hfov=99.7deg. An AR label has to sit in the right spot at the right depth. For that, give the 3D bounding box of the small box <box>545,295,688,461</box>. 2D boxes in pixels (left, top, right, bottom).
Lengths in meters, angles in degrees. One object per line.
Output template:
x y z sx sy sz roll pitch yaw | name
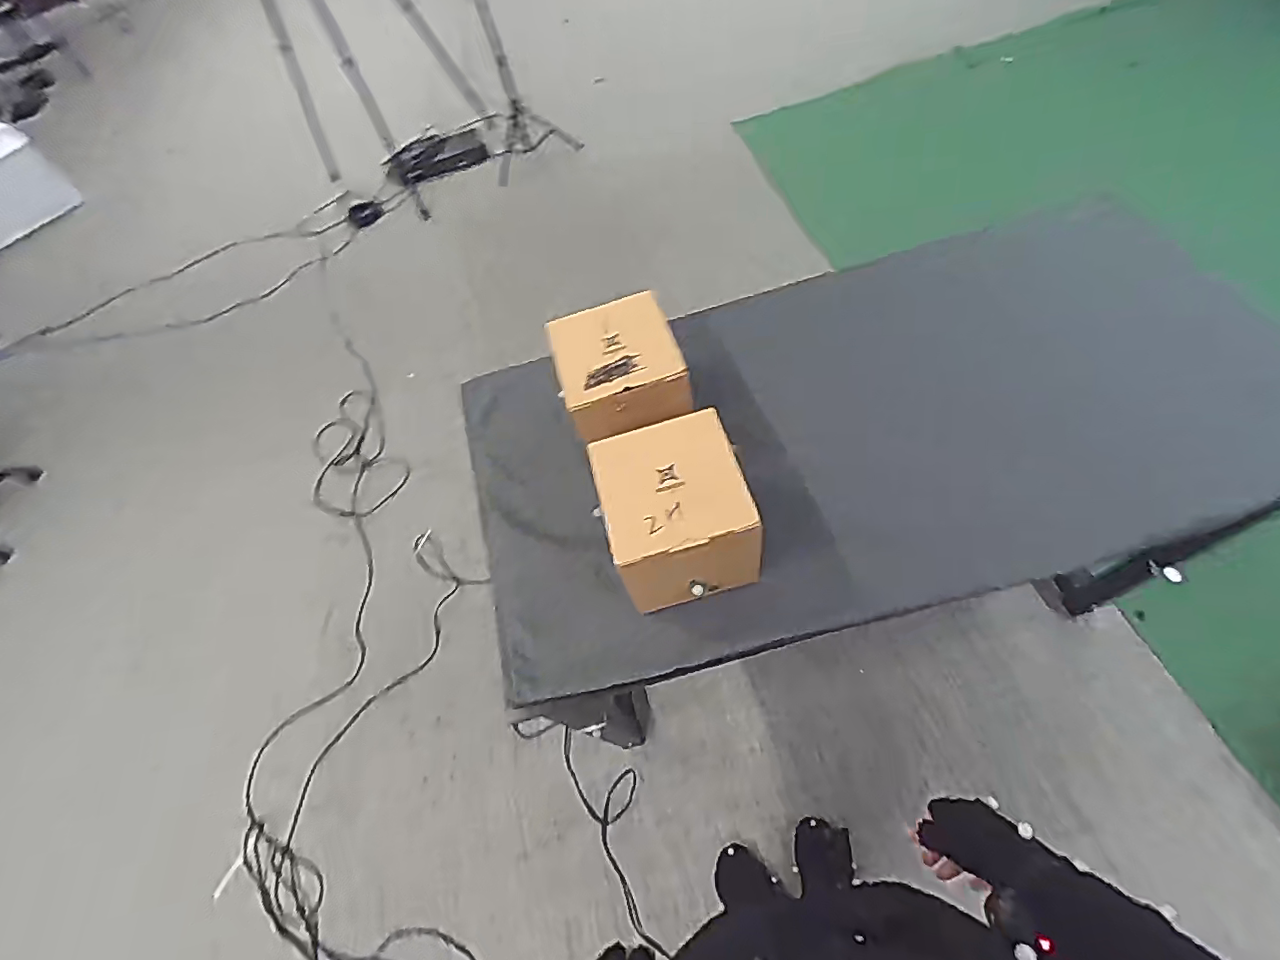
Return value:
-0.029 -0.140 0.822 0.168 0.176 0.179 -18 58 -1 | small box

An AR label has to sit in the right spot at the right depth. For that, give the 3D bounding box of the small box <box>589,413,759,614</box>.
0.043 0.048 0.698 0.168 0.176 0.179 -17 57 0 | small box
